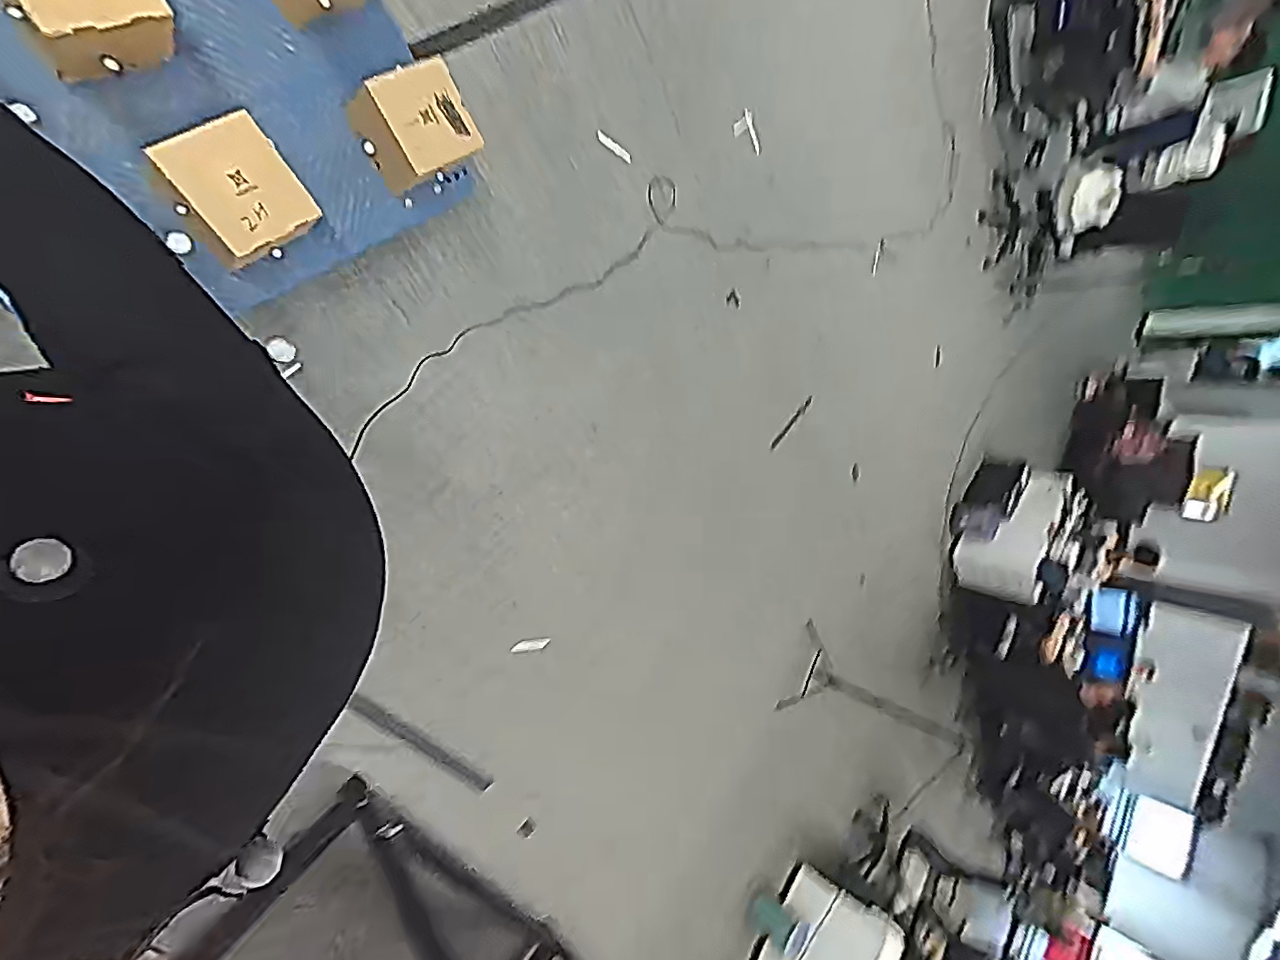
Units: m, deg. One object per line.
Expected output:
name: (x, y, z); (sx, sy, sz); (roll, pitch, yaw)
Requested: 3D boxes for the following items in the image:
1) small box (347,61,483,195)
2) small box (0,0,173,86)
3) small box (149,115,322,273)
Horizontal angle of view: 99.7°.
small box: (-0.468, -0.721, 1.120); (0.179, 0.176, 0.168); (-44, 124, -26)
small box: (-0.839, -0.722, 0.790); (0.168, 0.176, 0.179); (-43, 125, -28)
small box: (-0.707, -0.490, 0.948); (0.168, 0.176, 0.179); (-47, 125, -25)
